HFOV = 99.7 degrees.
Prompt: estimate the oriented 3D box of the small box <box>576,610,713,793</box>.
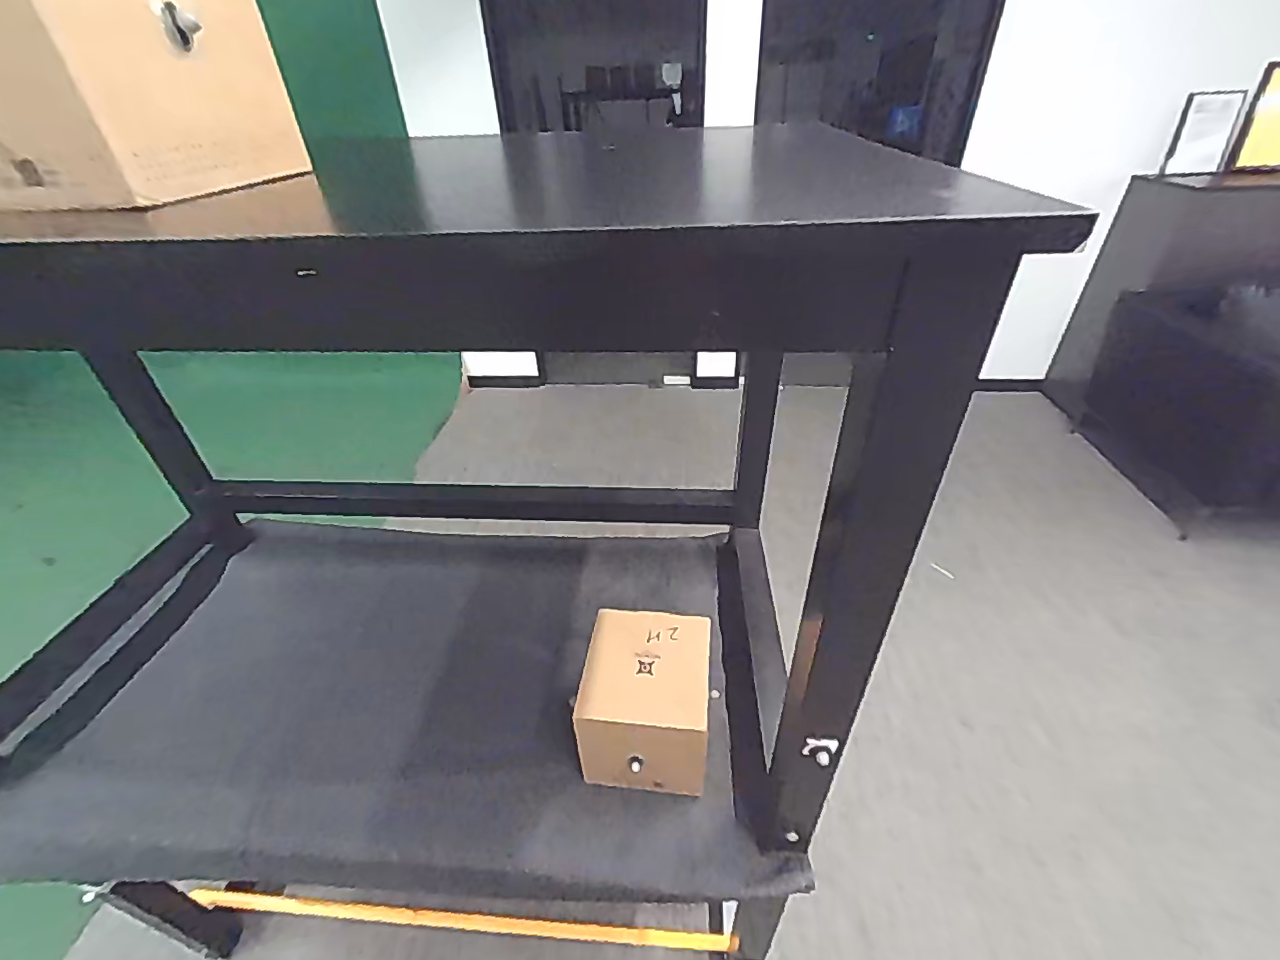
[{"bbox_3d":[0.015,0.312,0.767,0.168,0.176,0.179,4,36,7],"label":"small box"}]
